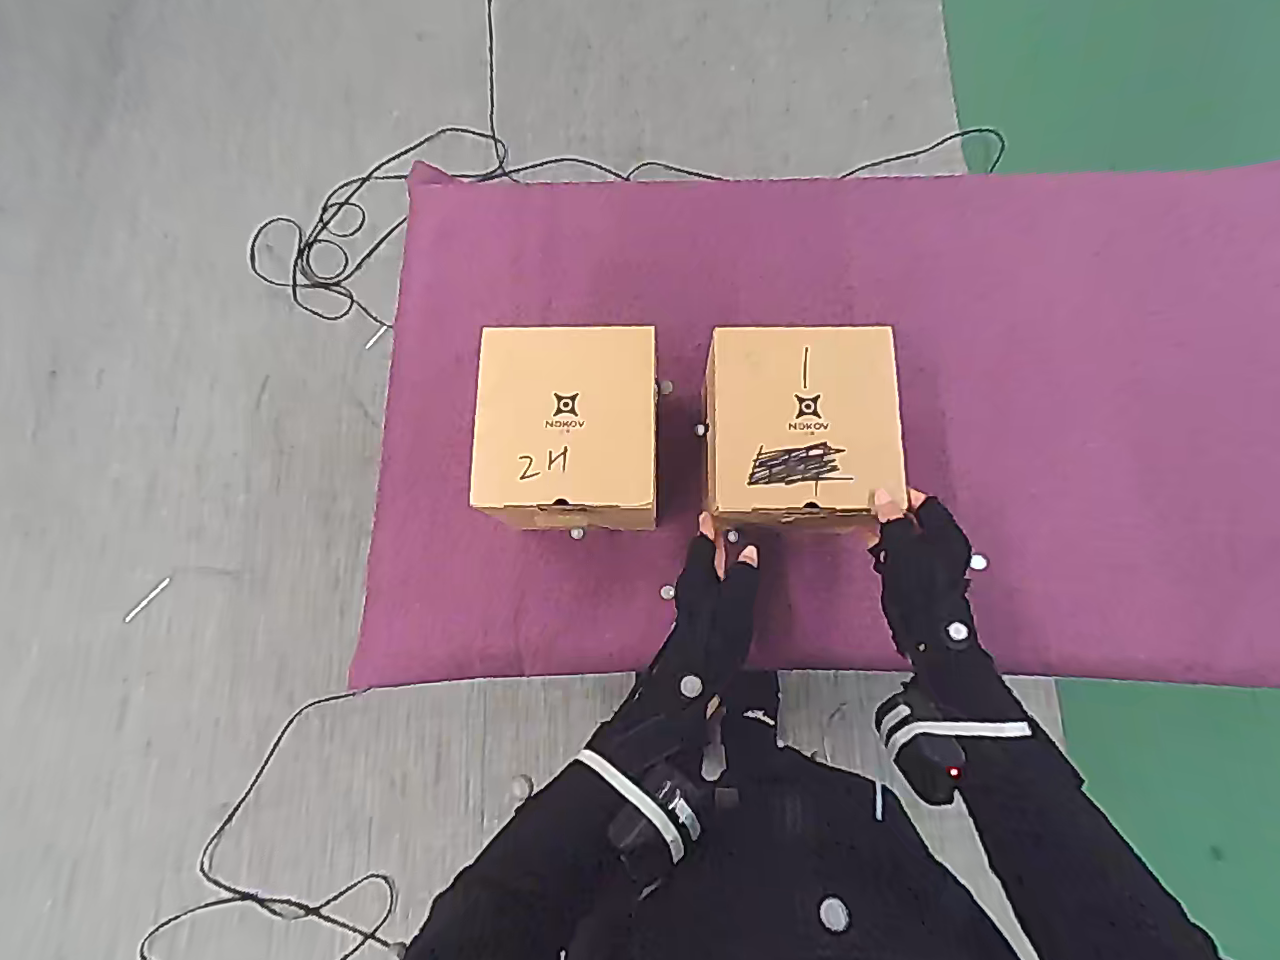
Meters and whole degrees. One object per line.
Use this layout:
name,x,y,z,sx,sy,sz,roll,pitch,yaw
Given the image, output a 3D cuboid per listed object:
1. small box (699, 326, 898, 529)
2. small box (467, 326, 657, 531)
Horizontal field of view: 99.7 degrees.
small box,0.150,-0.043,0.567,0.168,0.176,0.179,0,78,3
small box,-0.068,-0.045,0.576,0.168,0.176,0.179,1,78,3
